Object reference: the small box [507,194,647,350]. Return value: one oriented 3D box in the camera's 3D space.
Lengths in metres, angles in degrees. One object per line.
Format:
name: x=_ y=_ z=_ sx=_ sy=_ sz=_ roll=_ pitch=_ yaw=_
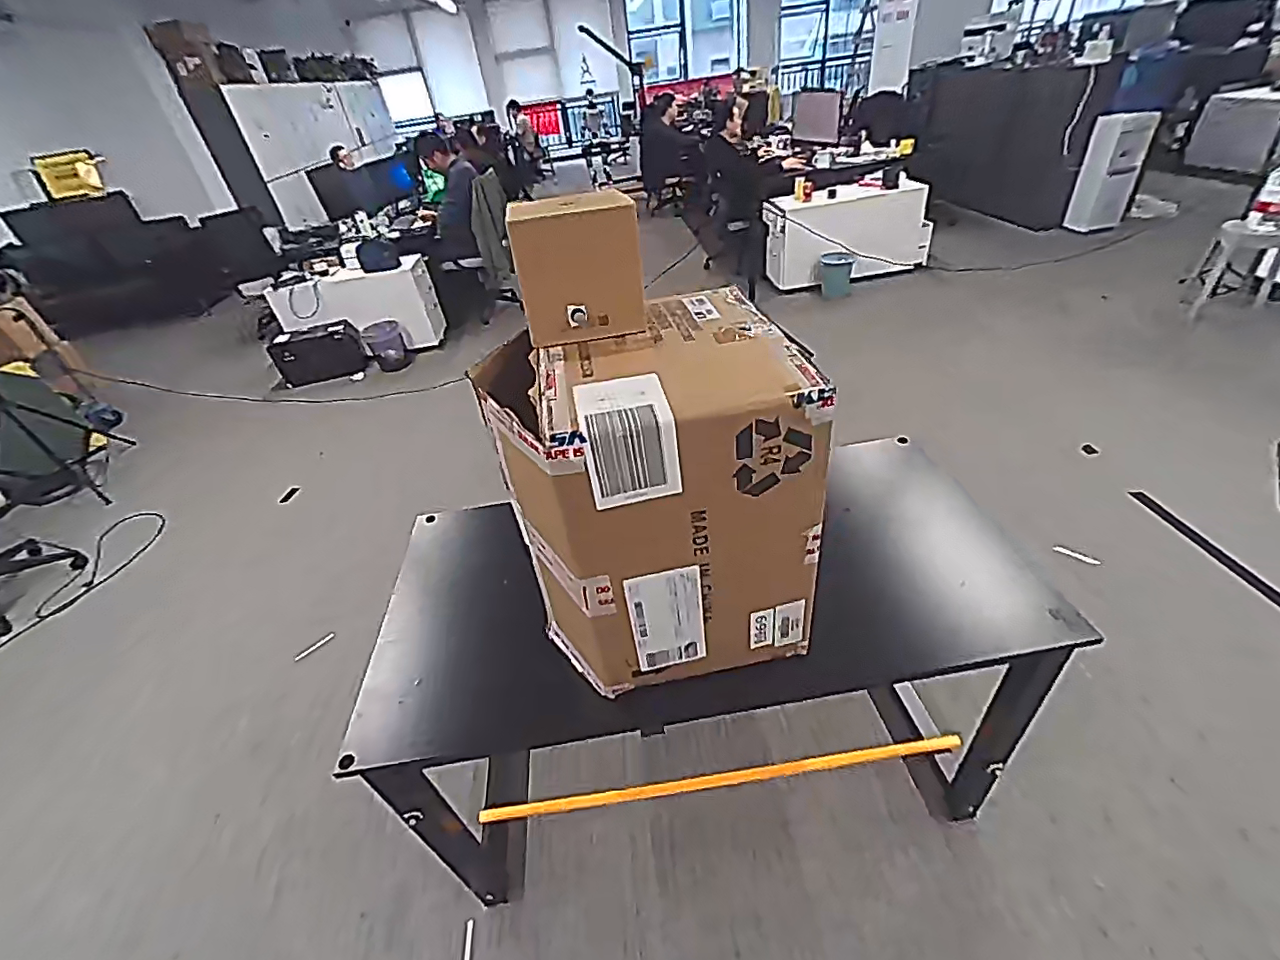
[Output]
small box: x=-0.091 y=-0.304 z=0.787 sx=0.168 sy=0.176 sz=0.179 roll=-12 pitch=35 yaw=-5
